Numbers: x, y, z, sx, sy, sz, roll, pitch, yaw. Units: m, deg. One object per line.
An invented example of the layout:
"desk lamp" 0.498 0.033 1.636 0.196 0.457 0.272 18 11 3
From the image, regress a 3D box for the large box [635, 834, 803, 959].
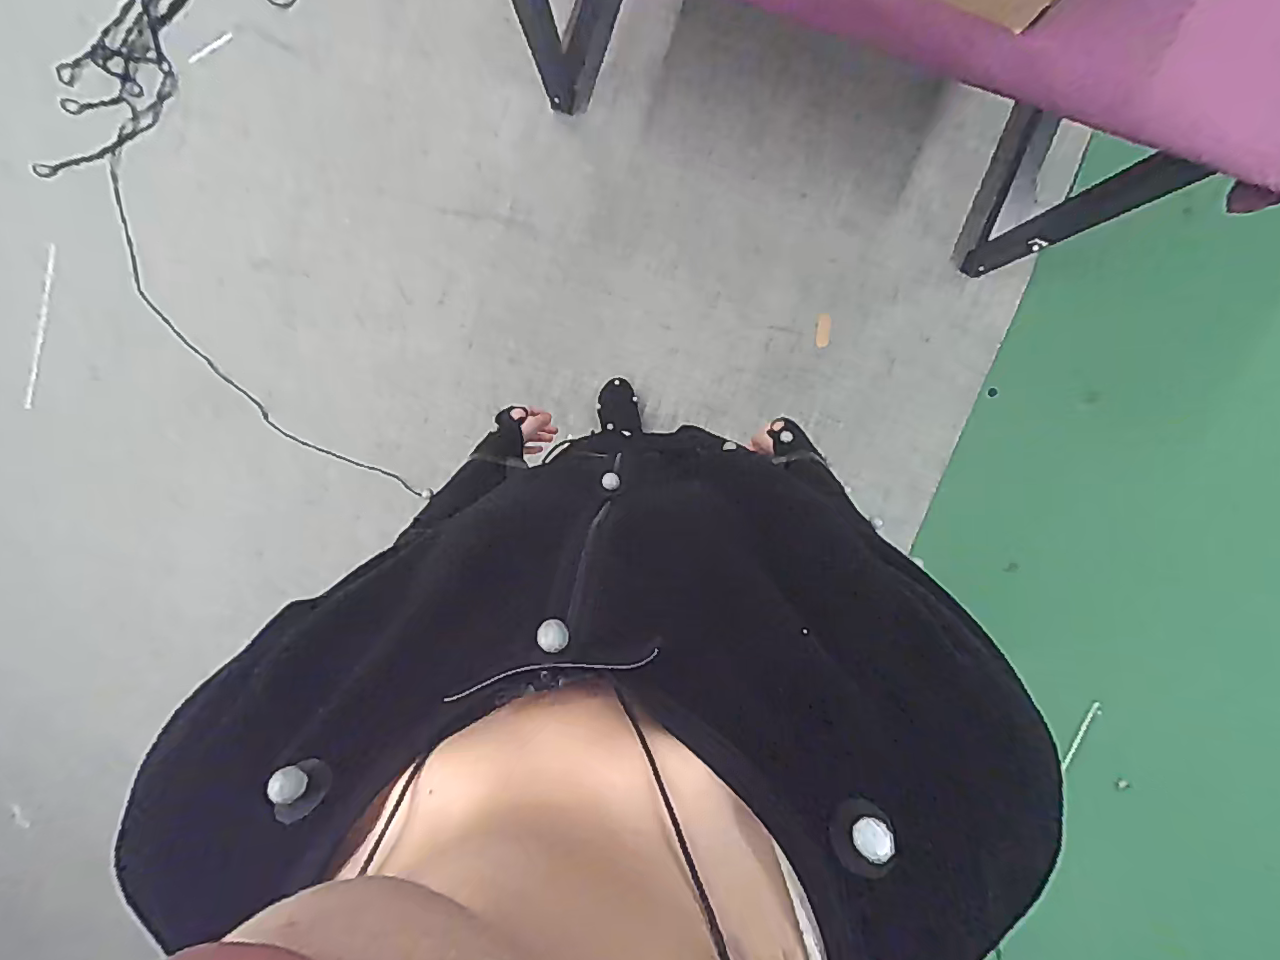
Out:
"large box" 0.194 1.244 1.492 0.408 0.320 0.320 6 98 1
